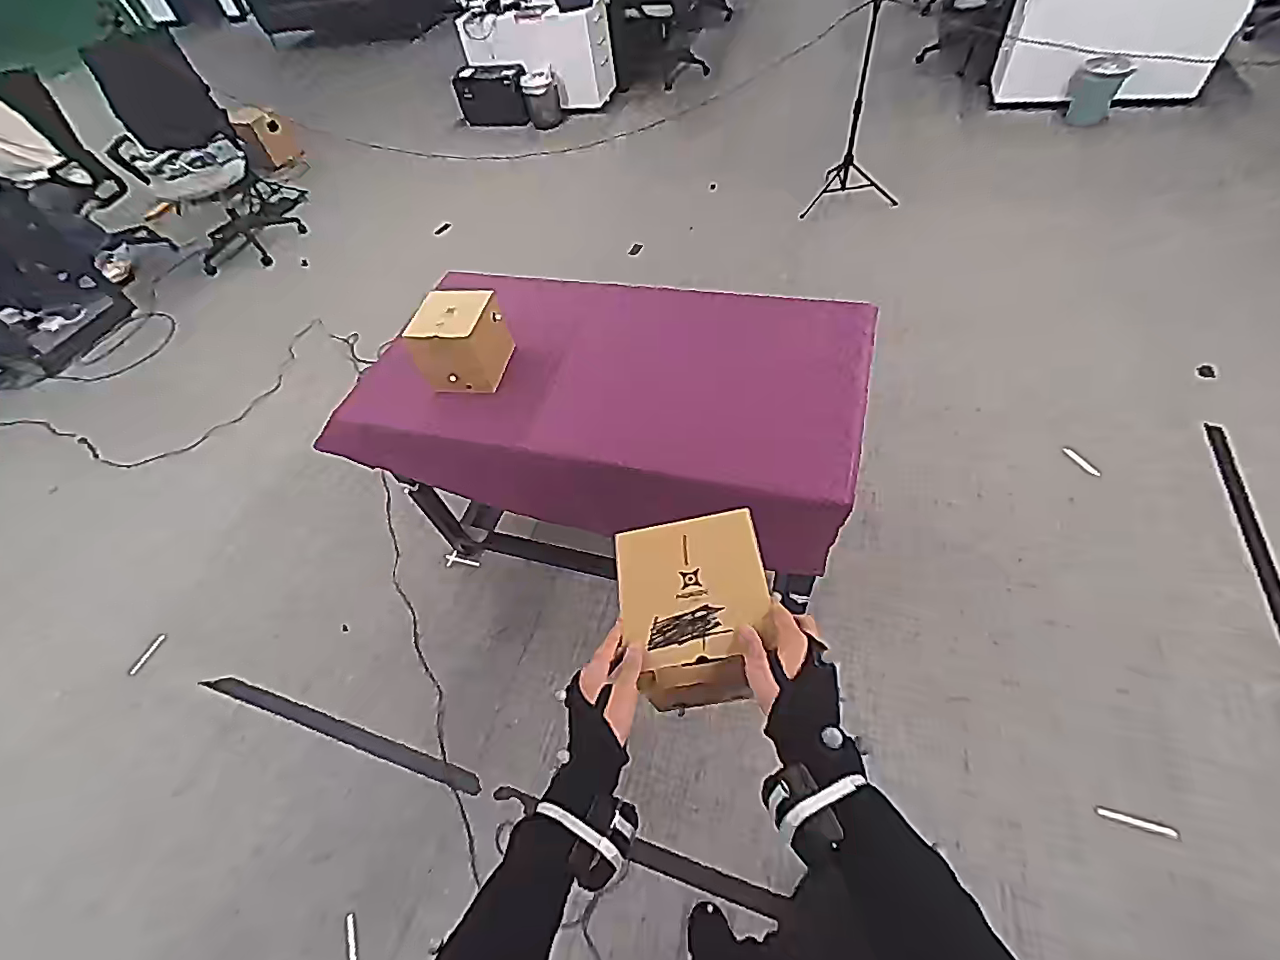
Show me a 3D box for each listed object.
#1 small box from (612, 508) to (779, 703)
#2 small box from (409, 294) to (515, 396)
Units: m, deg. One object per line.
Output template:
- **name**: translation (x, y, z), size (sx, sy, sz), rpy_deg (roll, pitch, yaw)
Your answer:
- **small box**: translation (0.071, 0.164, 0.670), size (0.168, 0.176, 0.179), rpy_deg (-13, 52, 7)
- **small box**: translation (-0.416, -0.327, 1.304), size (0.168, 0.176, 0.179), rpy_deg (4, 55, 11)
